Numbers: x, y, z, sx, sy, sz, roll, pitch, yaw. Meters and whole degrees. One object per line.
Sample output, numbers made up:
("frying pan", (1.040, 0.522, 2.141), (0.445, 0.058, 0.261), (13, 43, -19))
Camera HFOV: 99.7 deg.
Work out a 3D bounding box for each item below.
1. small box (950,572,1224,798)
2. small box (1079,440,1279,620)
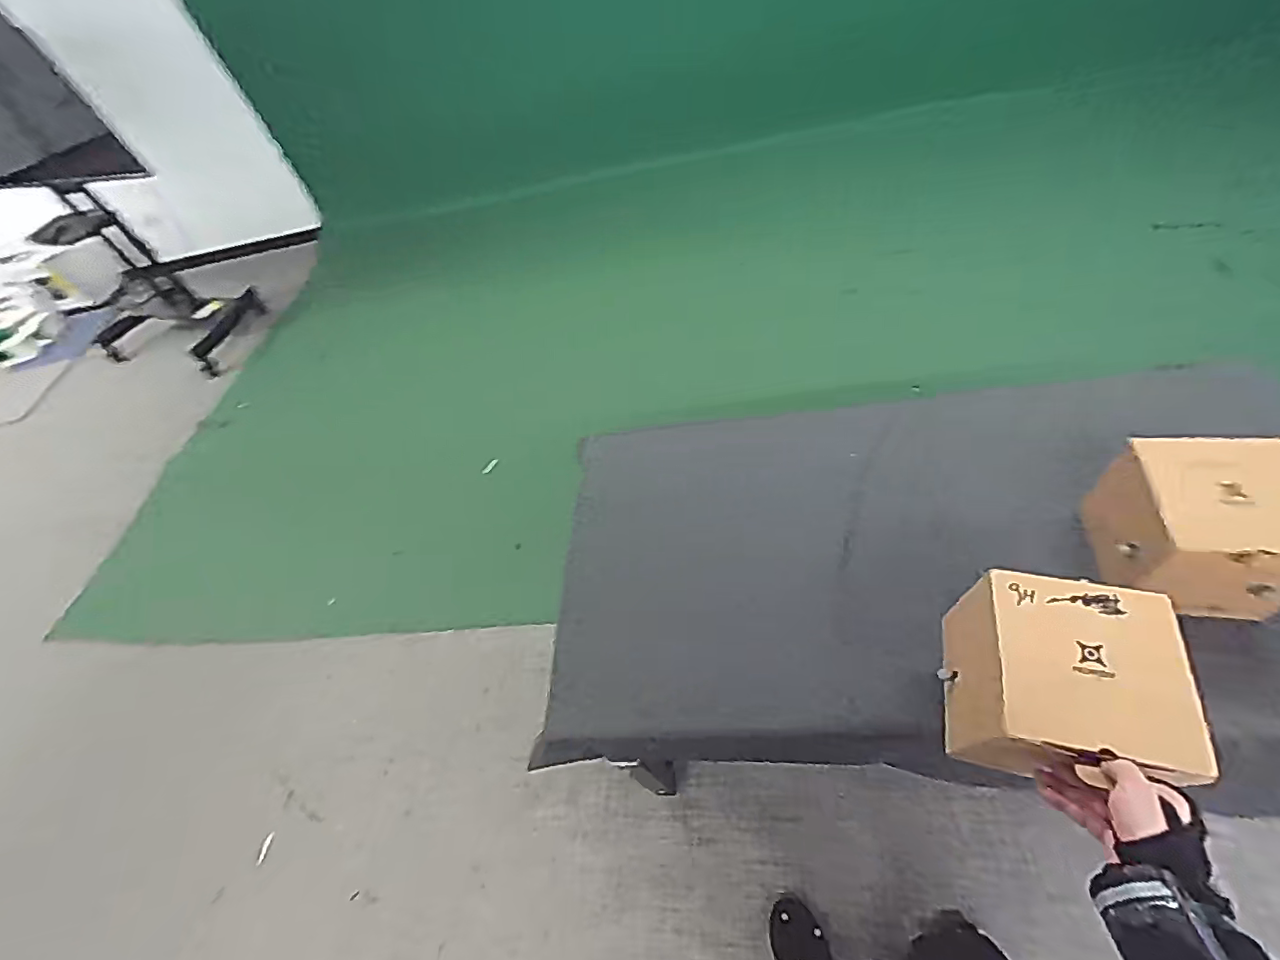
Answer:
("small box", (0.454, 0.226, 0.586), (0.168, 0.176, 0.179), (9, 58, 15))
("small box", (0.730, 0.068, 0.715), (0.168, 0.176, 0.179), (3, 52, 15))
